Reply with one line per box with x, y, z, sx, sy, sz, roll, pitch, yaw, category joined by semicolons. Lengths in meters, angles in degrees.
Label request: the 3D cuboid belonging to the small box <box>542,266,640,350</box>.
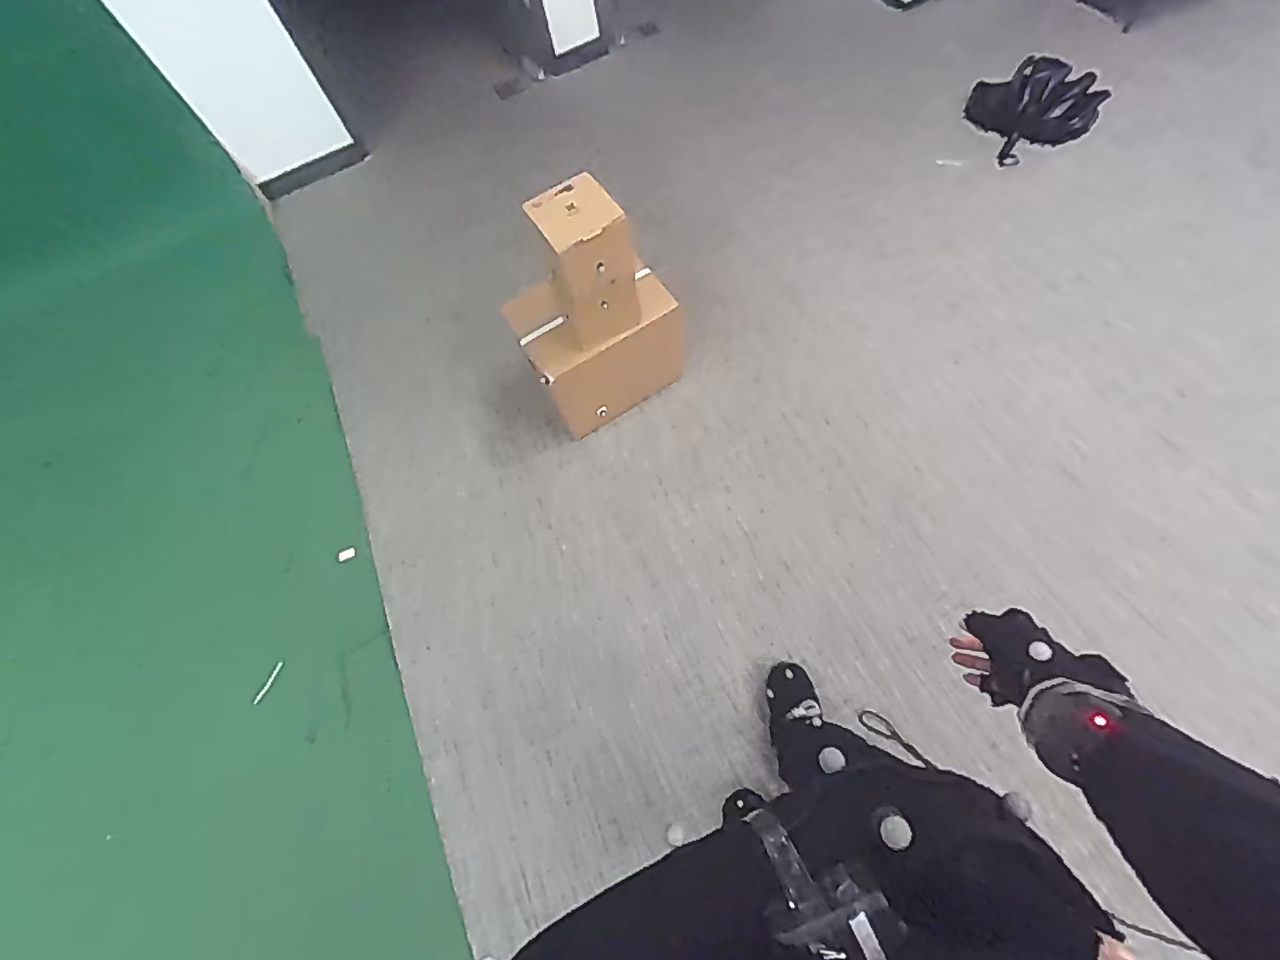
-0.116;-0.459;1.354;0.179;0.176;0.168;-28;66;-7;small box

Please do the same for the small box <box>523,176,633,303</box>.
-0.131;-0.524;1.205;0.168;0.176;0.179;-31;67;-7;small box
